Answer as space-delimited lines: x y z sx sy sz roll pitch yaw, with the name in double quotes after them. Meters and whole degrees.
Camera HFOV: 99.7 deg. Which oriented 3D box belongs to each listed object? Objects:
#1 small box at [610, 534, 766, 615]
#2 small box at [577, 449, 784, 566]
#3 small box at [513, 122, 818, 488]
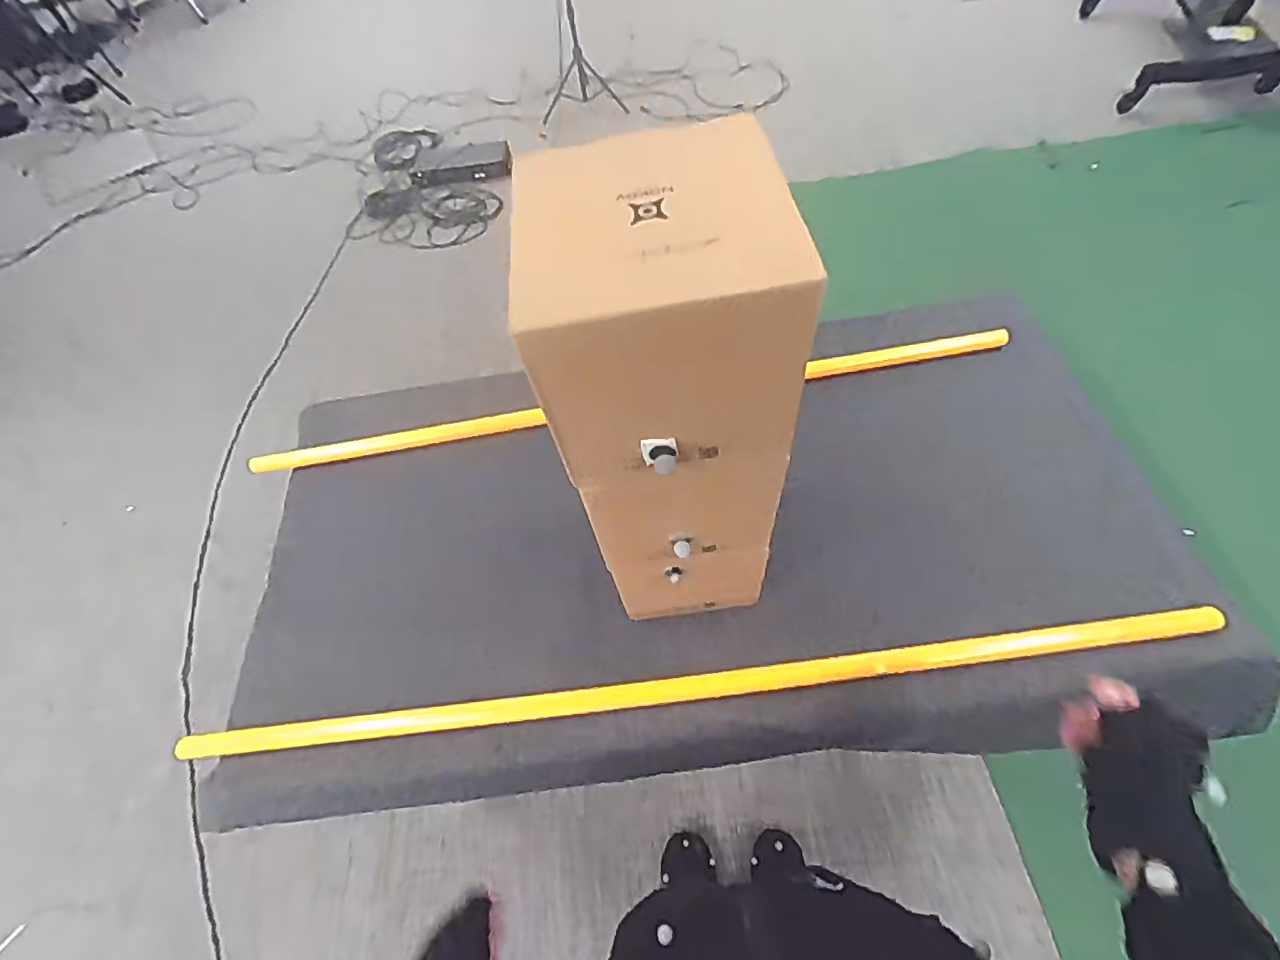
0.051 0.050 0.673 0.168 0.176 0.179 -9 57 3 "small box"
0.031 -0.036 0.534 0.168 0.176 0.179 -9 58 2 "small box"
0.013 -0.118 0.396 0.168 0.176 0.179 -10 59 3 "small box"
